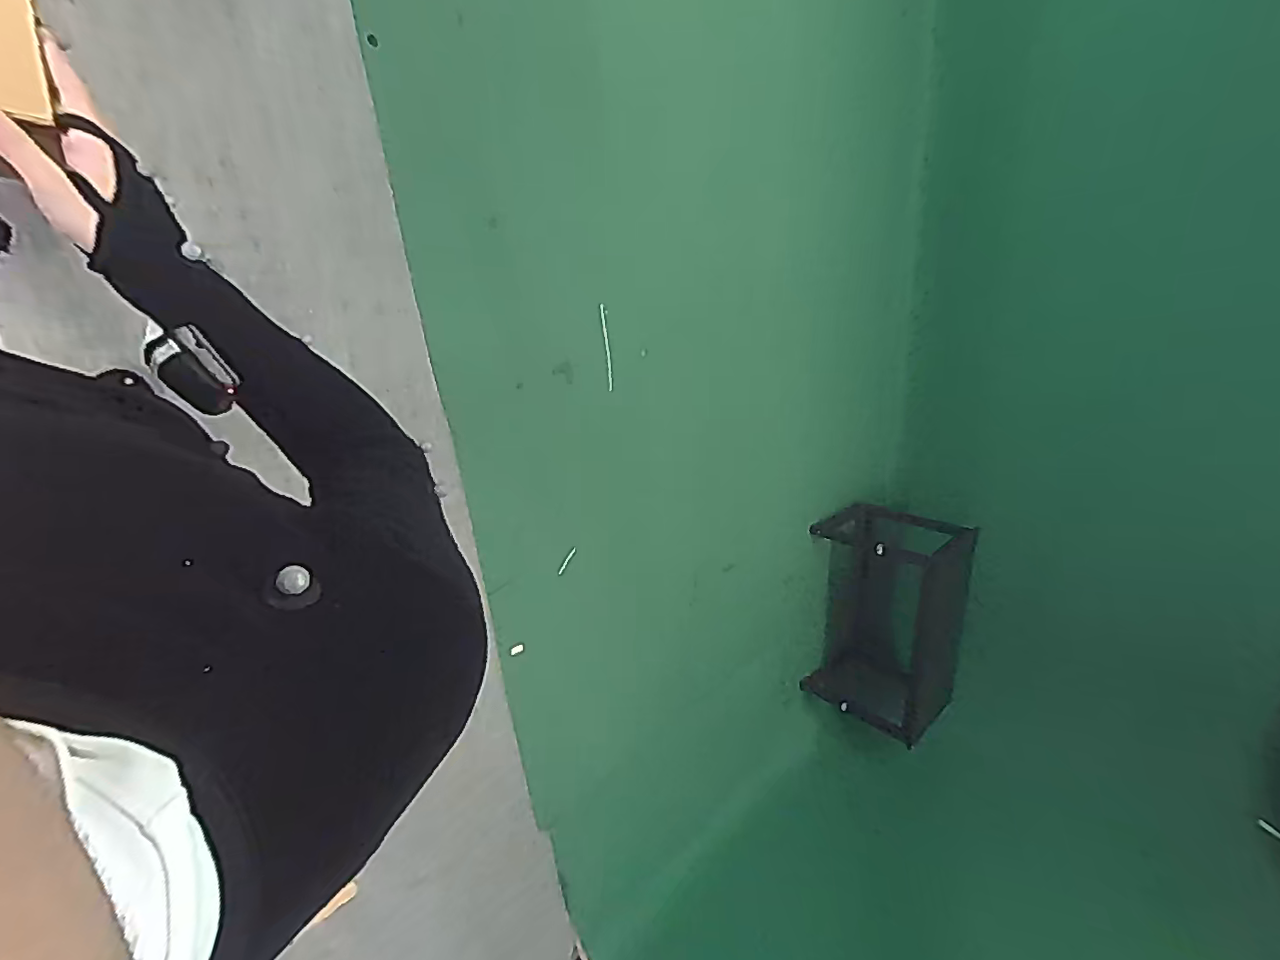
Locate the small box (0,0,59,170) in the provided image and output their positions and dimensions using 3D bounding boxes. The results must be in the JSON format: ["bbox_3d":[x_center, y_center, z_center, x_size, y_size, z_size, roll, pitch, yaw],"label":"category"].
[{"bbox_3d":[-0.551,-0.354,0.385,0.168,0.176,0.179,-11,106,-43],"label":"small box"}]
